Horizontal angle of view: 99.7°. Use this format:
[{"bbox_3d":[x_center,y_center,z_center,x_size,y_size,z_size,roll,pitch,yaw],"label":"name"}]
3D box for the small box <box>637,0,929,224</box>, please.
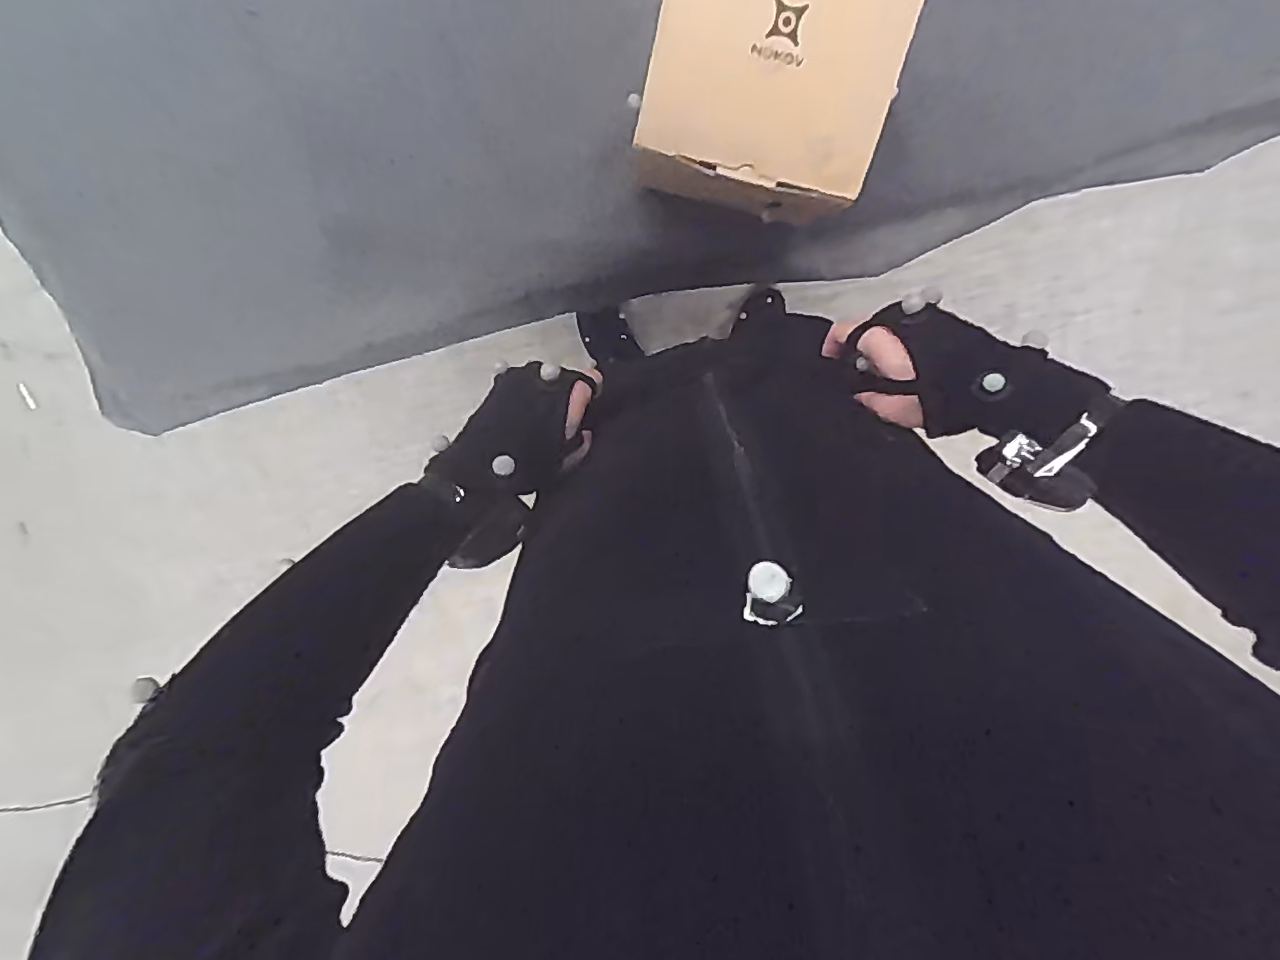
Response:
[{"bbox_3d":[0.097,-0.316,0.427,0.168,0.176,0.179,11,110,-4],"label":"small box"}]
